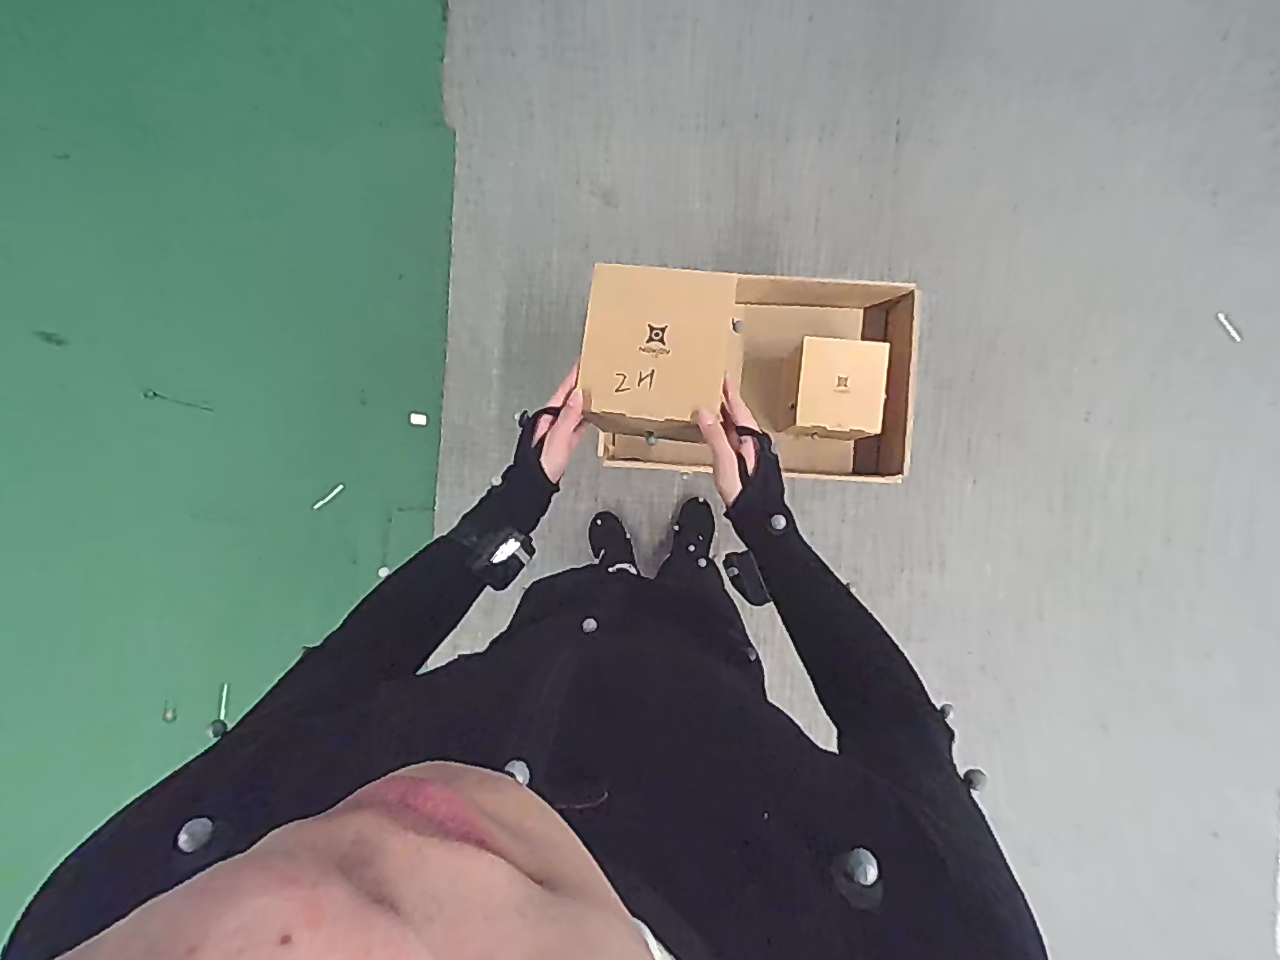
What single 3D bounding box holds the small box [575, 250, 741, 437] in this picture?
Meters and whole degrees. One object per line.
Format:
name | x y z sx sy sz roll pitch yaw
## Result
small box | 0.028 -0.160 0.678 0.168 0.176 0.179 8 88 7
